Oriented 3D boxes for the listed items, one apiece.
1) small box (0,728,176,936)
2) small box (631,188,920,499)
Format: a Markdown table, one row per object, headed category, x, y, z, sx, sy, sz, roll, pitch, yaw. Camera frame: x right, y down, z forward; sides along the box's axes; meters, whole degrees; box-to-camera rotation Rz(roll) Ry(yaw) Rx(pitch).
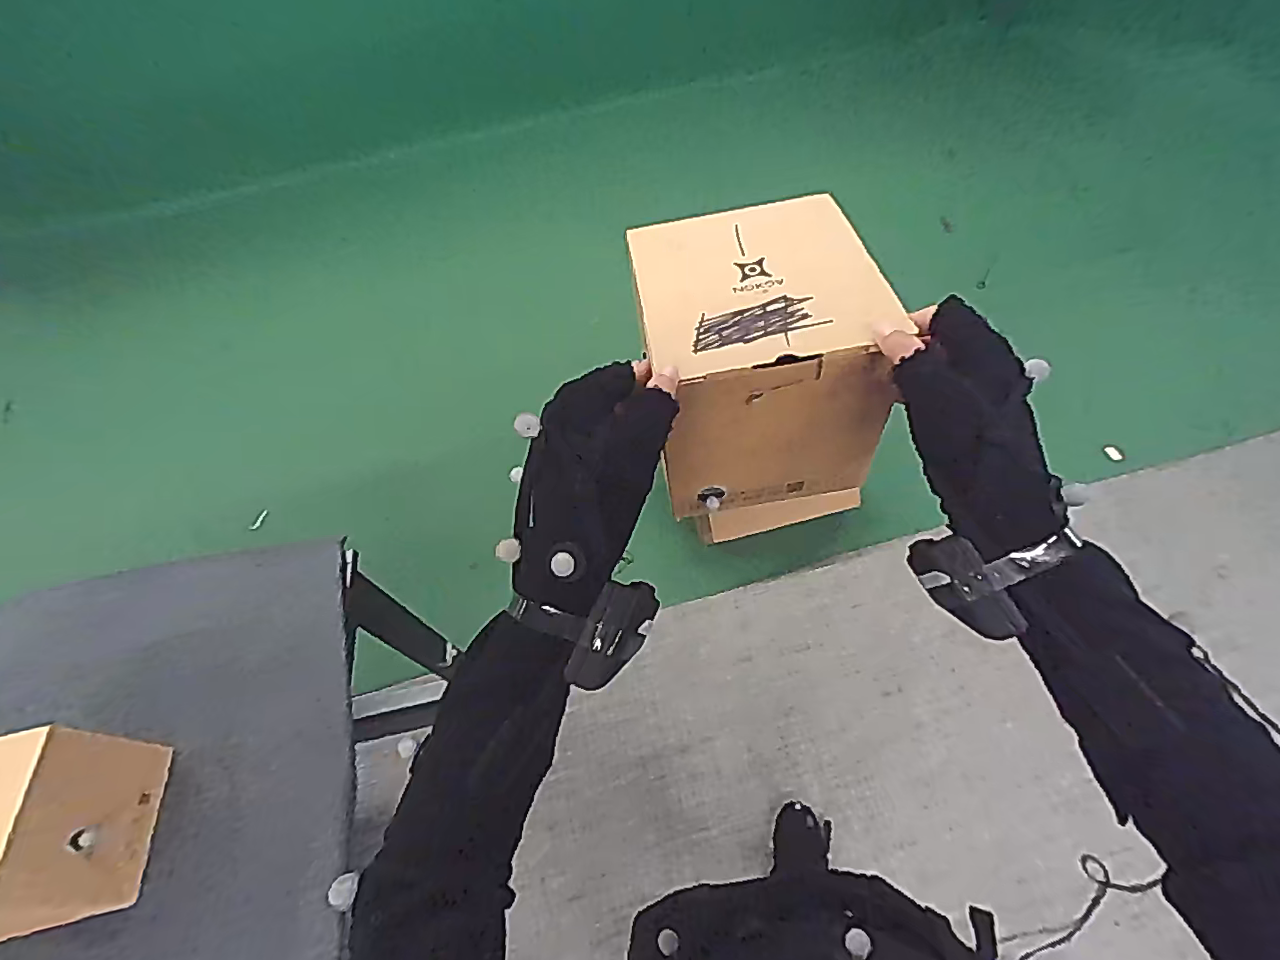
| category | x | y | z | sx | sy | sz | roll | pitch | yaw |
| --- | --- | --- | --- | --- | --- | --- | --- | --- | --- |
| small box | -0.670 | 0.388 | 0.591 | 0.179 | 0.176 | 0.168 | -14 | 56 | -1 |
| small box | 0.093 | -0.099 | 0.441 | 0.168 | 0.176 | 0.179 | -10 | 55 | 2 |
